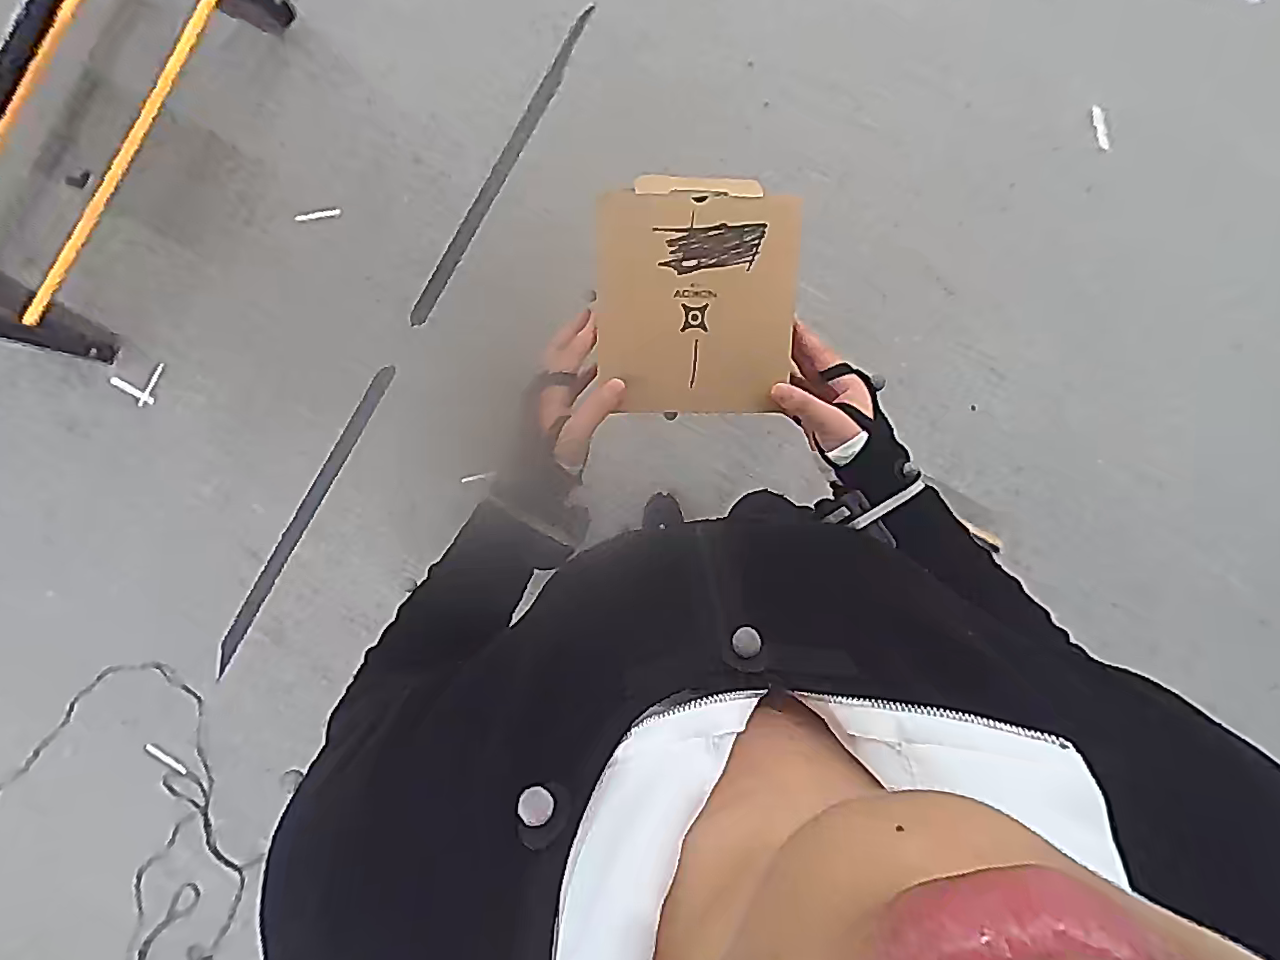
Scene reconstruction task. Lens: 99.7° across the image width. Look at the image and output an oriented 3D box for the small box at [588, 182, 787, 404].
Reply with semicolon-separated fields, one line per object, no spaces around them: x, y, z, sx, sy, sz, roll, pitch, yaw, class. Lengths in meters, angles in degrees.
0.033;-0.166;0.525;0.168;0.176;0.179;-1;102;-3;small box
